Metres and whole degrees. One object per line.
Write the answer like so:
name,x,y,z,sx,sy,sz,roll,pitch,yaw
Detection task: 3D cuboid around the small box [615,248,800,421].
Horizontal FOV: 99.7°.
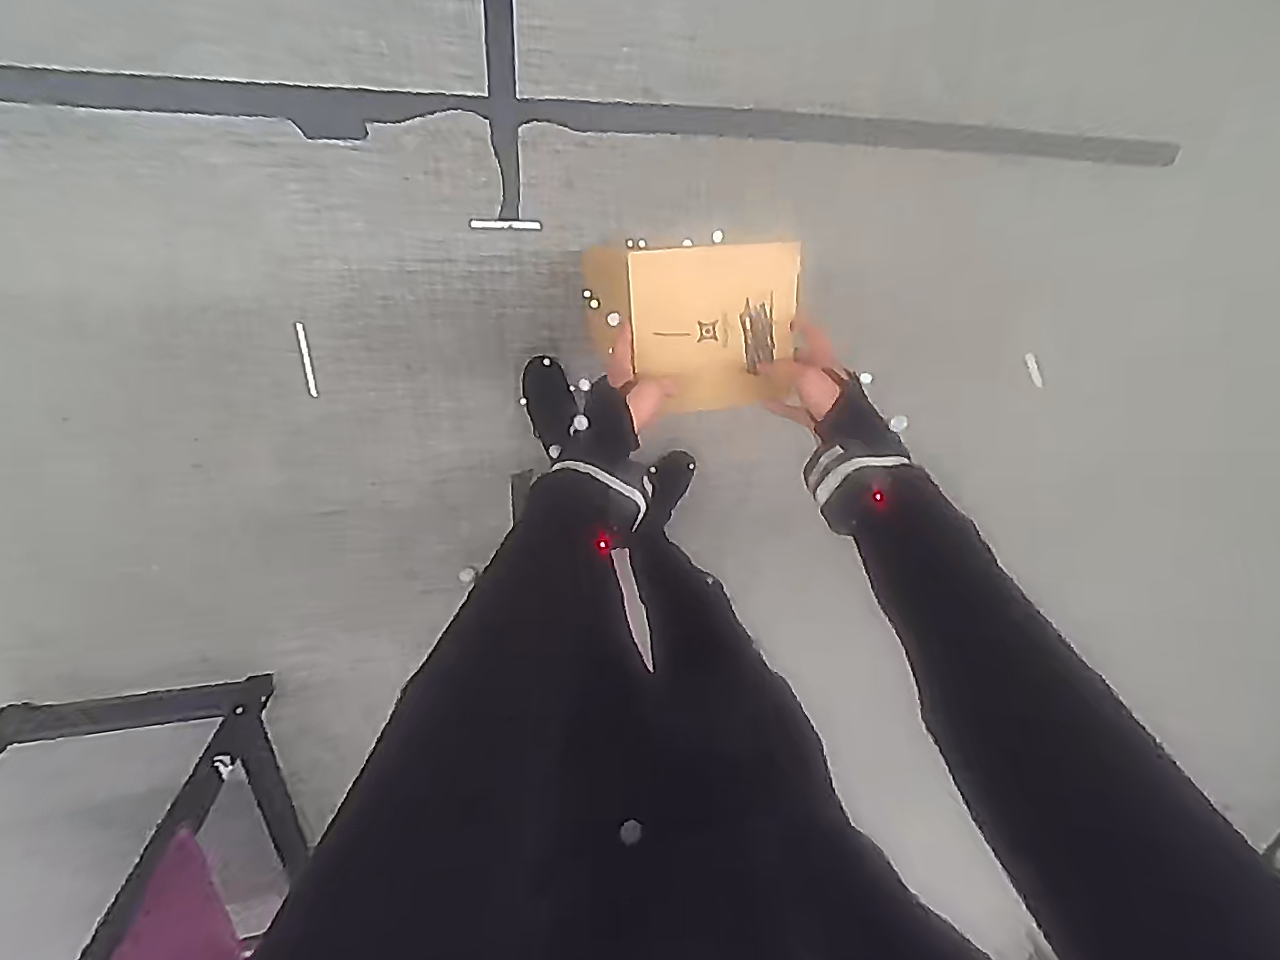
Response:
small box,0.068,-0.177,0.630,0.179,0.176,0.168,-6,113,-3

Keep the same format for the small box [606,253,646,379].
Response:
small box,0.042,-0.244,0.810,0.168,0.176,0.179,-4,115,-12

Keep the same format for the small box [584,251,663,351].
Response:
small box,-0.020,-0.372,1.106,0.168,0.176,0.179,-6,116,-10
